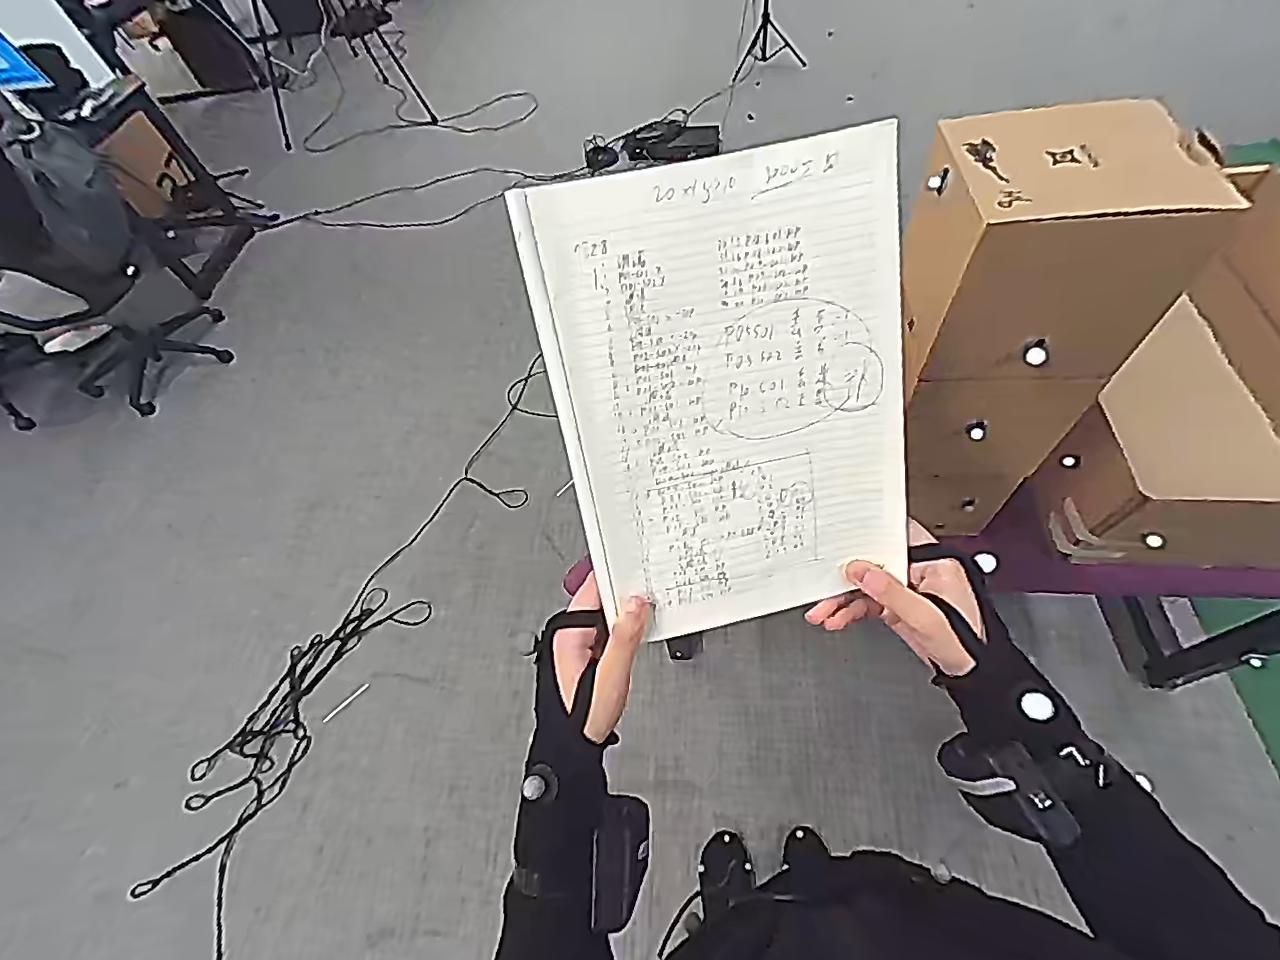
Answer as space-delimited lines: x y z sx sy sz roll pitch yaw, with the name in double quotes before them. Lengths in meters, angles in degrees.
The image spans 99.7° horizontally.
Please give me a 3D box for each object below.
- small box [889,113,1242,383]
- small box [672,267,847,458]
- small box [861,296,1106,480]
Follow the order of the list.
"small box" 0.354 -0.204 0.499 0.179 0.176 0.168 1 55 9
"small box" 0.153 -0.146 0.695 0.179 0.176 0.168 10 59 17
"small box" 0.376 -0.112 0.633 0.179 0.176 0.168 0 55 10
